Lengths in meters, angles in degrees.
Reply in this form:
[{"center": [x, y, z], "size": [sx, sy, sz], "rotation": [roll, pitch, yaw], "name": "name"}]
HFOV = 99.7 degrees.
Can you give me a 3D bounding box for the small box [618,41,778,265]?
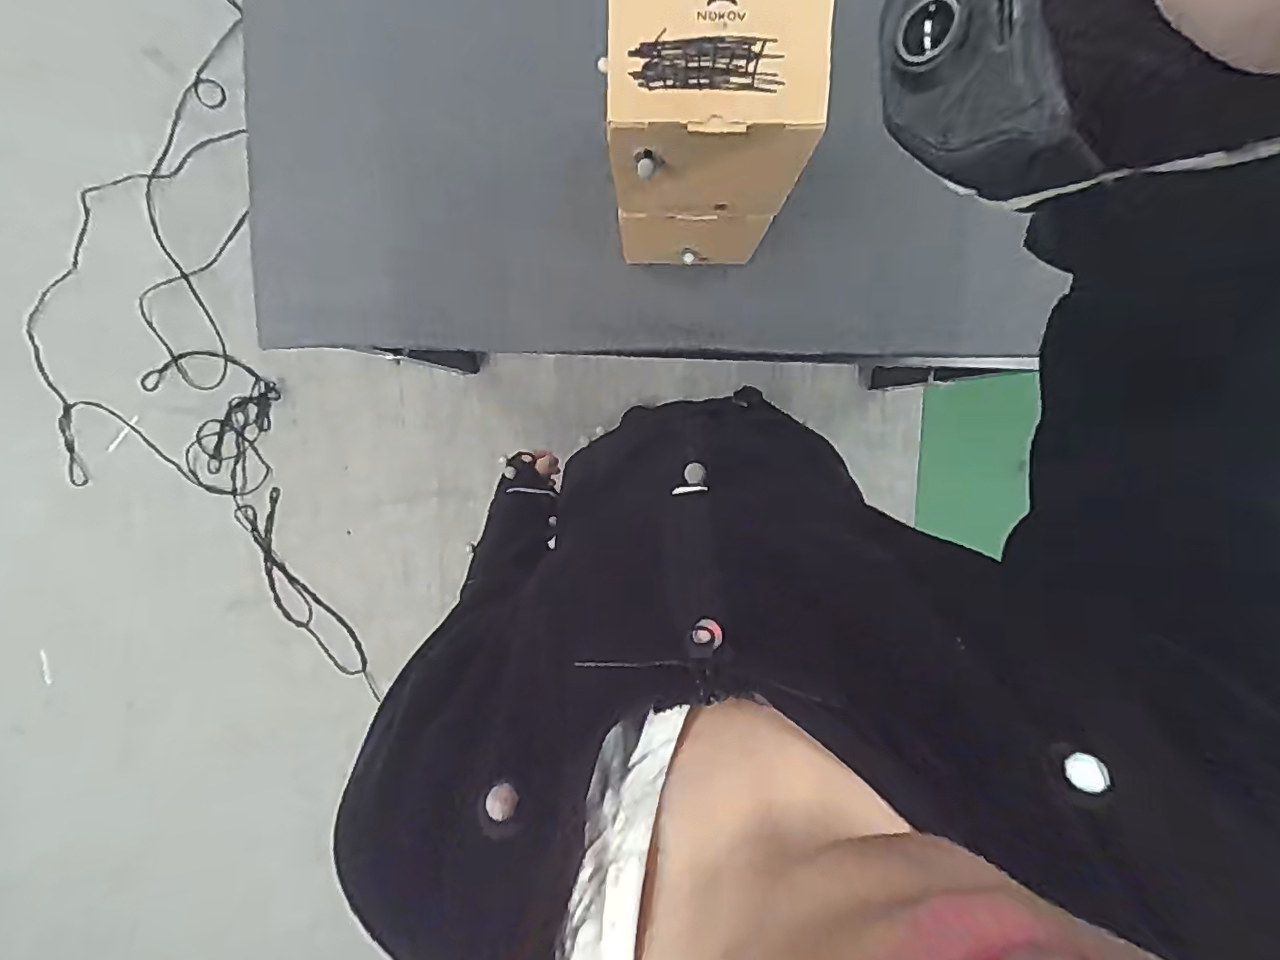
[{"center": [0.060, -0.372, 0.643], "size": [0.168, 0.176, 0.179], "rotation": [1, 96, 1], "name": "small box"}]
